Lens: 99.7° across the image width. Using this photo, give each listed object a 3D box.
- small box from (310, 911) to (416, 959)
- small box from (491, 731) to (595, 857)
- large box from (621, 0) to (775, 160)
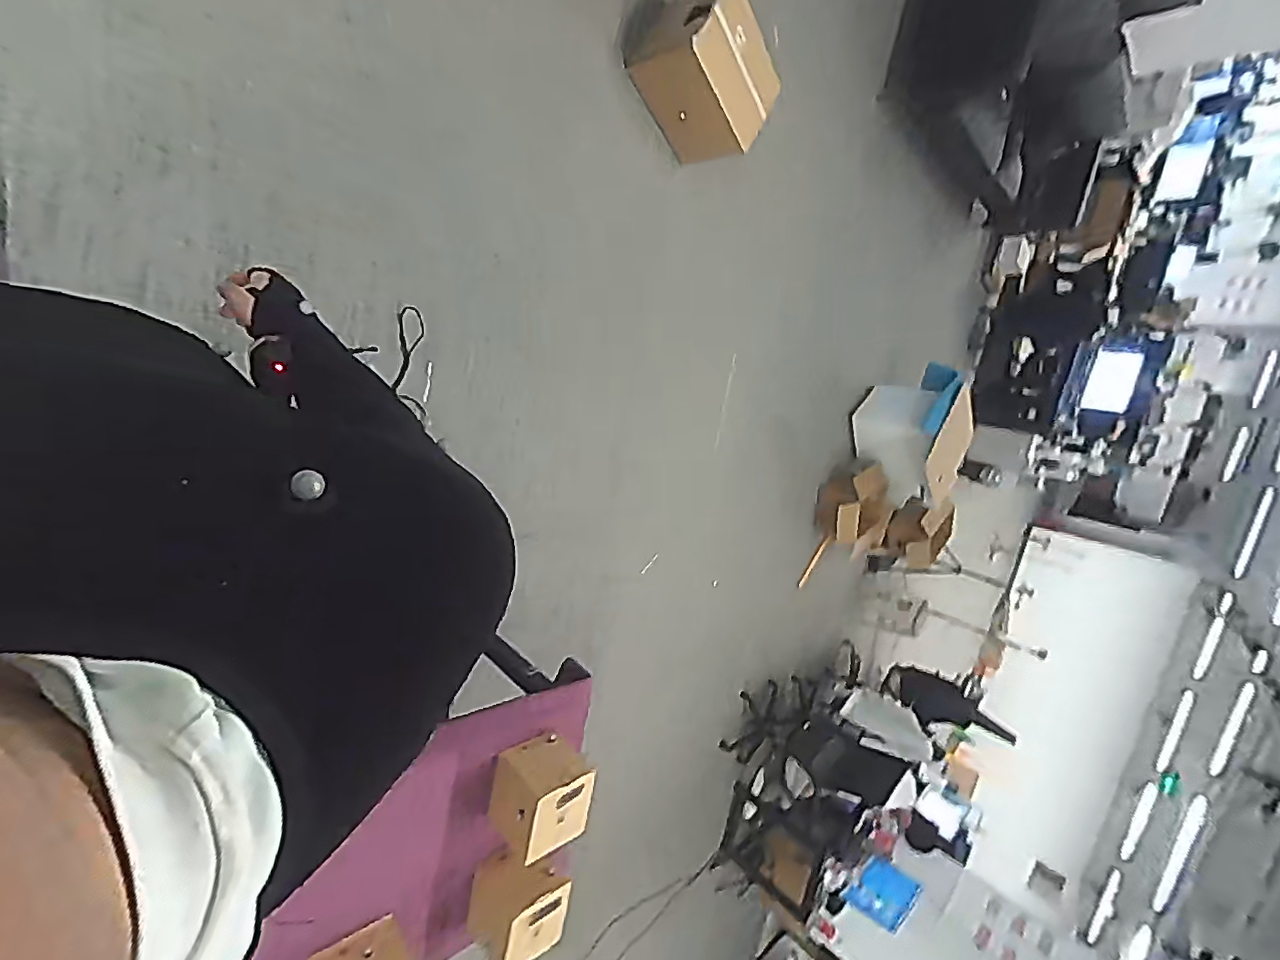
[{"bbox_3d":[-0.548,1.025,1.070,0.168,0.176,0.179,1,103,-46],"label":"small box"},{"bbox_3d":[-0.234,0.726,1.282,0.168,0.176,0.179,1,105,-46],"label":"small box"},{"bbox_3d":[0.212,-1.432,1.916,0.408,0.320,0.320,36,78,-46],"label":"large box"}]
